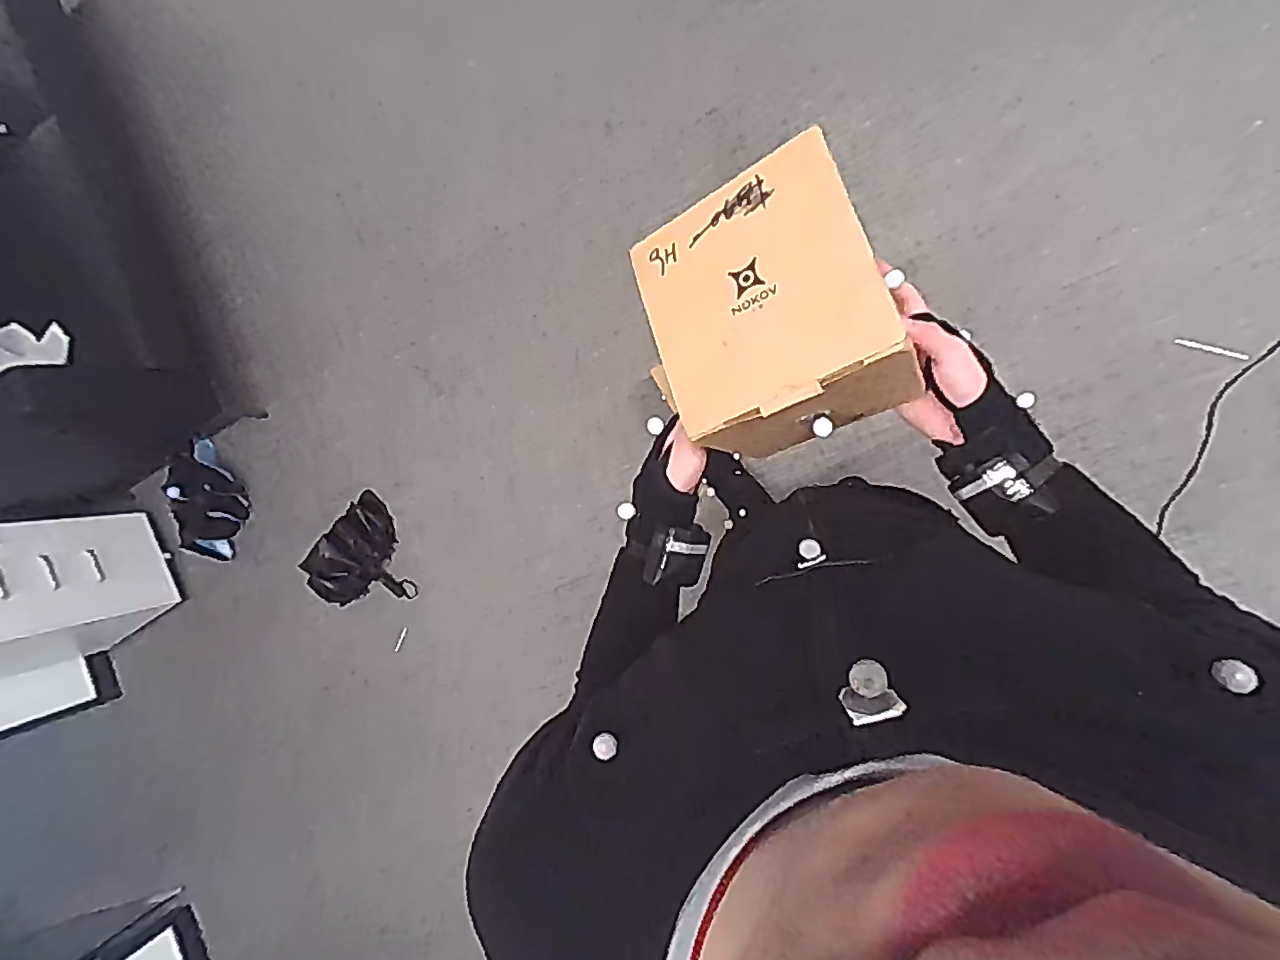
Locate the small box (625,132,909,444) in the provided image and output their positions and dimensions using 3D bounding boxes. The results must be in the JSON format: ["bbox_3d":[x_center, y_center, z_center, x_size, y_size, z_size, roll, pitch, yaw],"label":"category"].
[{"bbox_3d":[0.117,-0.137,0.468,0.168,0.176,0.179,-22,78,27],"label":"small box"}]

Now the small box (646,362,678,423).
[{"bbox_3d":[0.143,-0.266,1.501,0.168,0.176,0.179,-31,85,16],"label":"small box"}]
